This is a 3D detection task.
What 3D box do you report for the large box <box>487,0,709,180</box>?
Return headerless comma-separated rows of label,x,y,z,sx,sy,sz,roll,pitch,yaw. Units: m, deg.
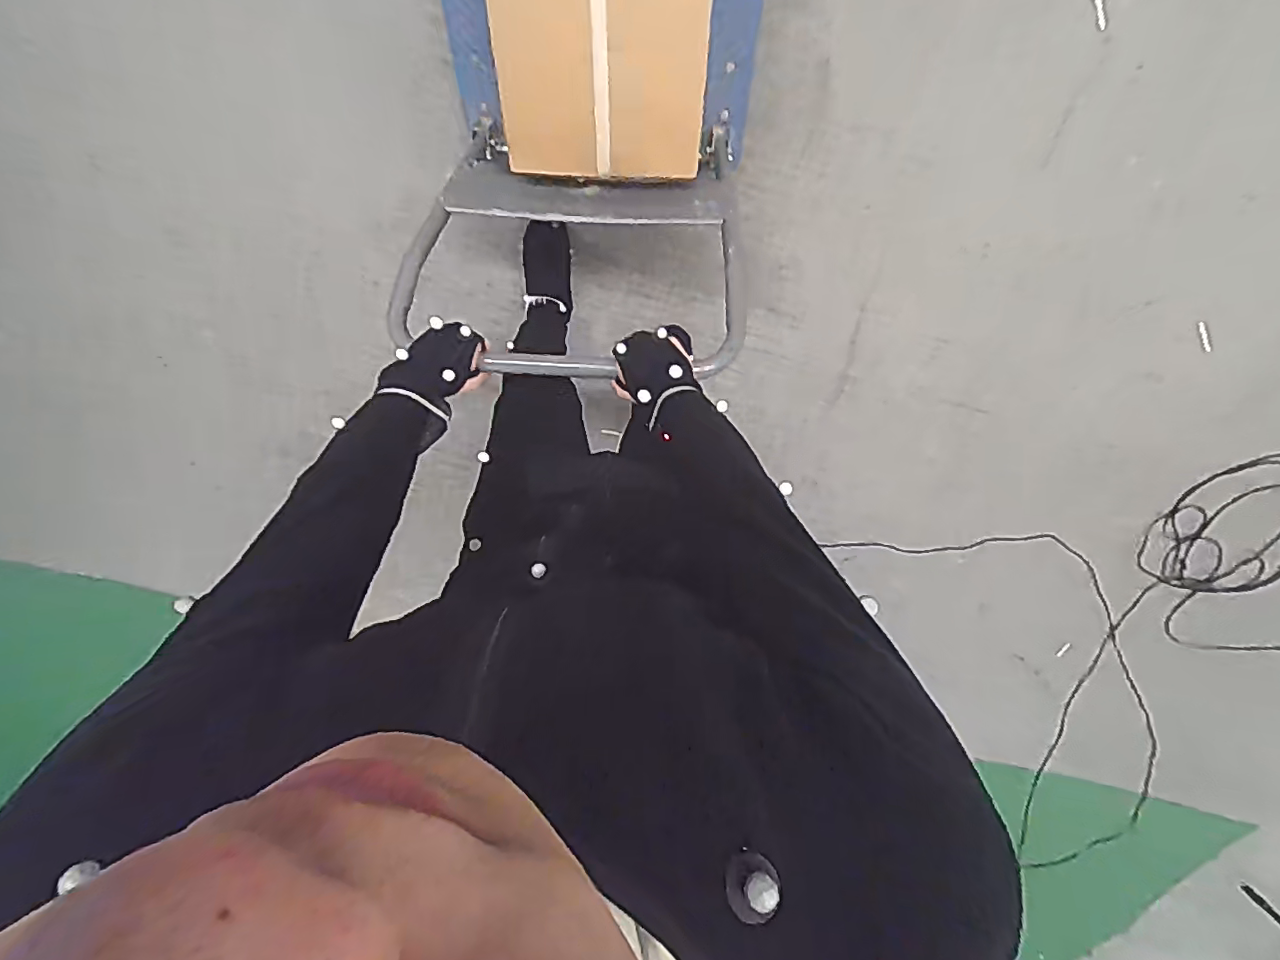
large box,-0.051,-0.749,0.869,0.320,0.320,0.408,2,137,2
